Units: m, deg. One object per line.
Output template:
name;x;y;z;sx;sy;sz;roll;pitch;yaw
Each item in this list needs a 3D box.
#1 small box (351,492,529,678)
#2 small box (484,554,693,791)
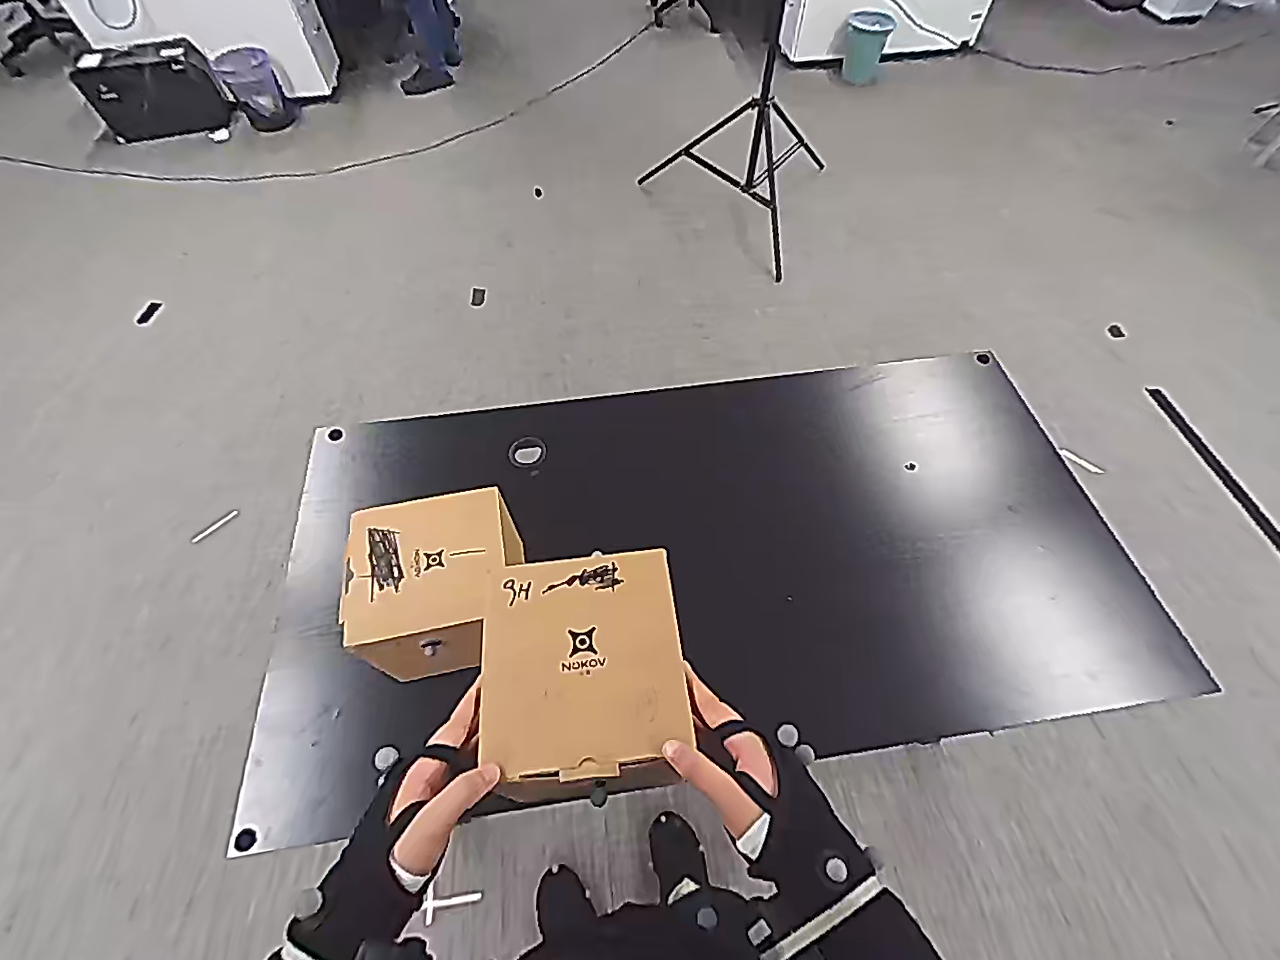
small box;-0.238;0.139;0.690;0.179;0.176;0.168;-11;59;-7
small box;-0.044;0.192;0.521;0.168;0.176;0.179;-7;57;-3
